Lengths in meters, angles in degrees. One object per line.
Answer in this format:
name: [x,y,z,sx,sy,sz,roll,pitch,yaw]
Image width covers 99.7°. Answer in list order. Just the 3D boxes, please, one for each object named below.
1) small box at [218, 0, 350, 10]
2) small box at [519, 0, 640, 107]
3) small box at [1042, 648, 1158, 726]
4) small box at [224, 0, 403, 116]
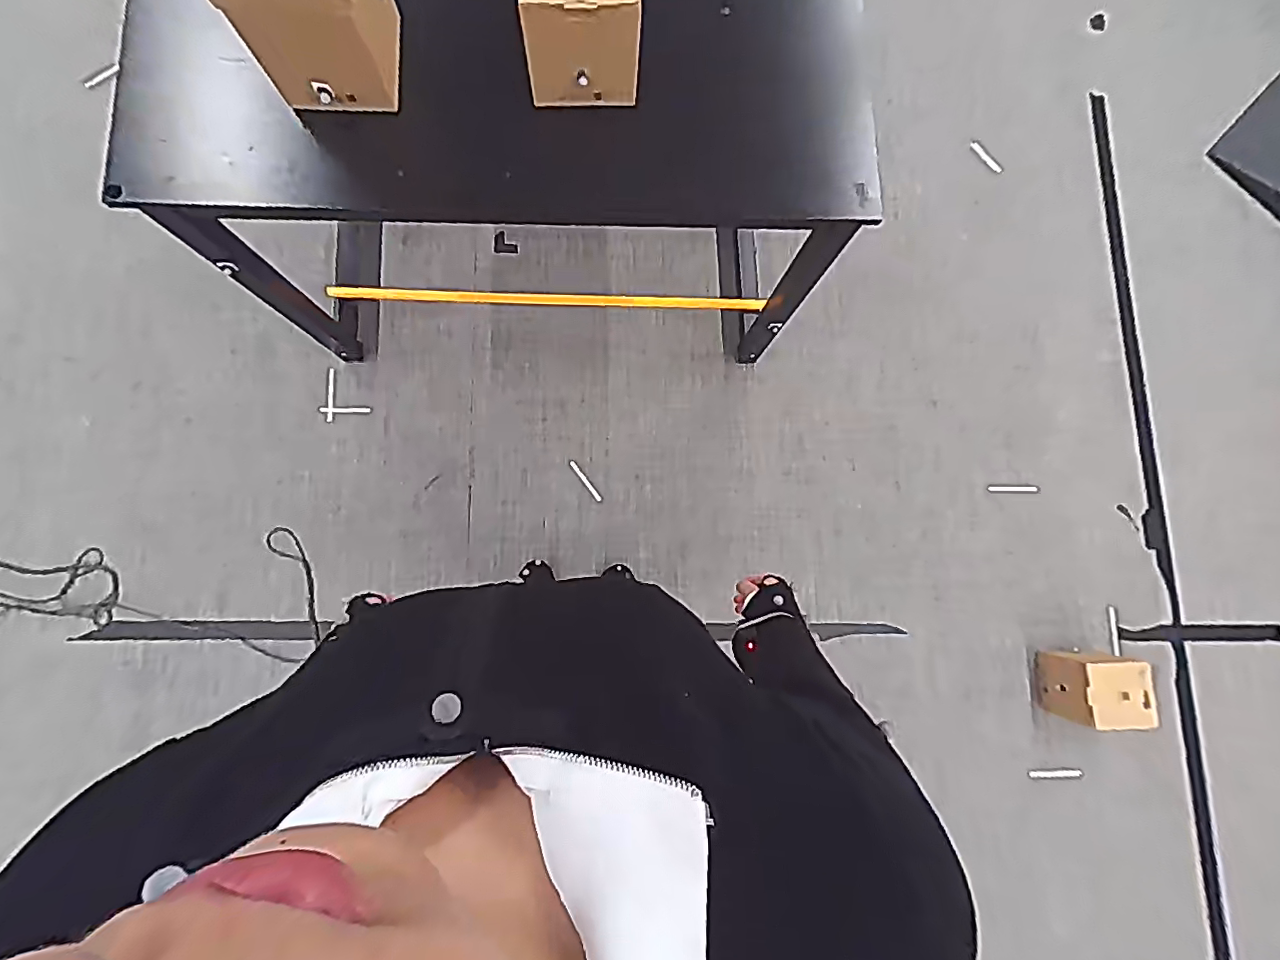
small box: [-0.454,-0.694,0.627,0.179,0.176,0.168,-4,82,-4]
small box: [-0.091,-0.709,0.815,0.168,0.176,0.179,-3,82,-4]
small box: [1.230,0.555,1.462,0.179,0.176,0.168,0,83,-3]
small box: [-0.462,-0.678,0.790,0.168,0.176,0.179,-2,83,-3]
